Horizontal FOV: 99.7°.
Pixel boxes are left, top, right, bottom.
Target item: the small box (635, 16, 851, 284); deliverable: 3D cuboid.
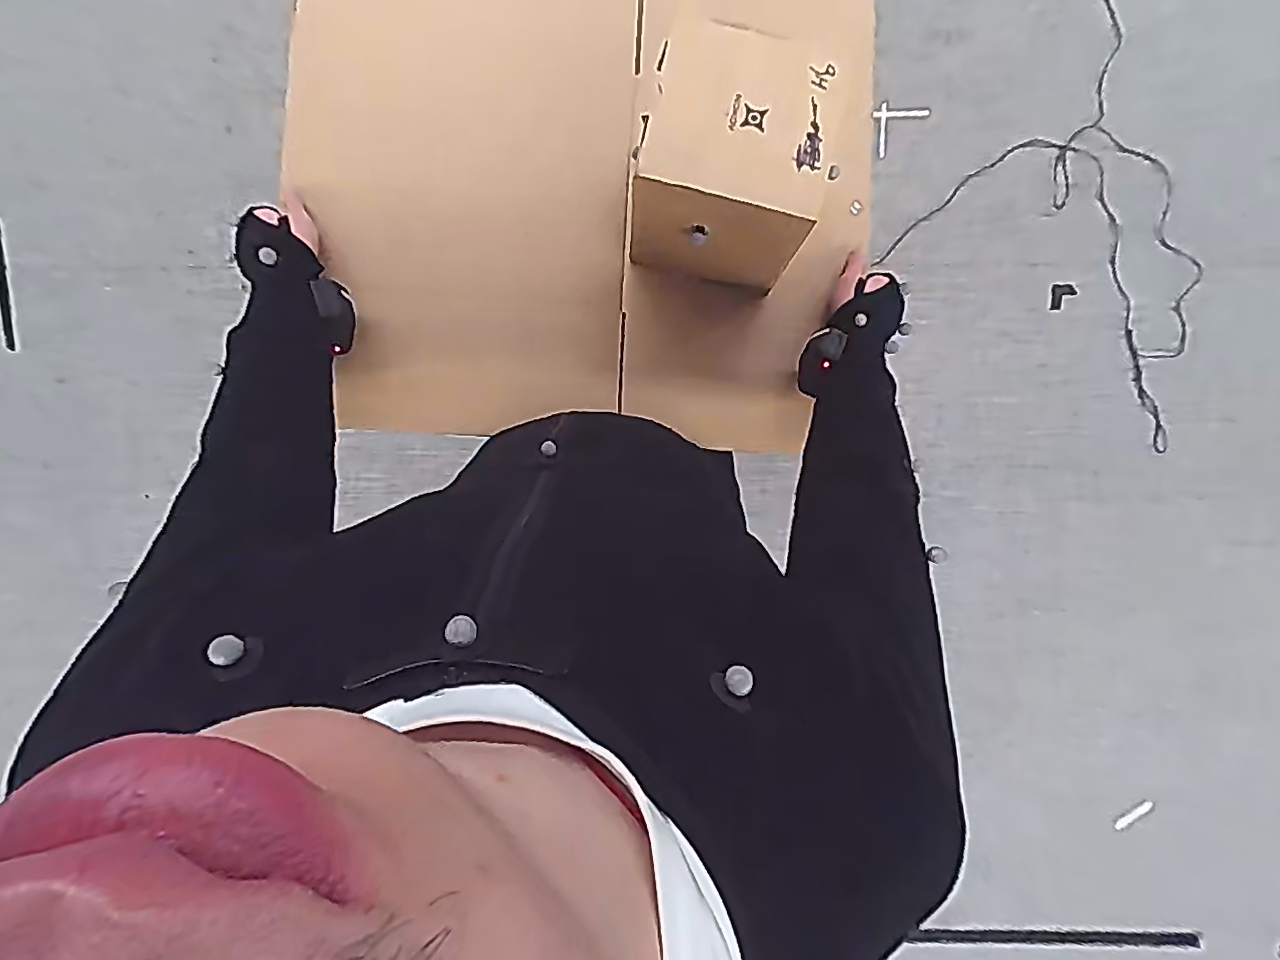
[{"bbox_3d":[0.095,-0.334,0.583,0.179,0.176,0.168,13,87,-1],"label":"small box"}]
